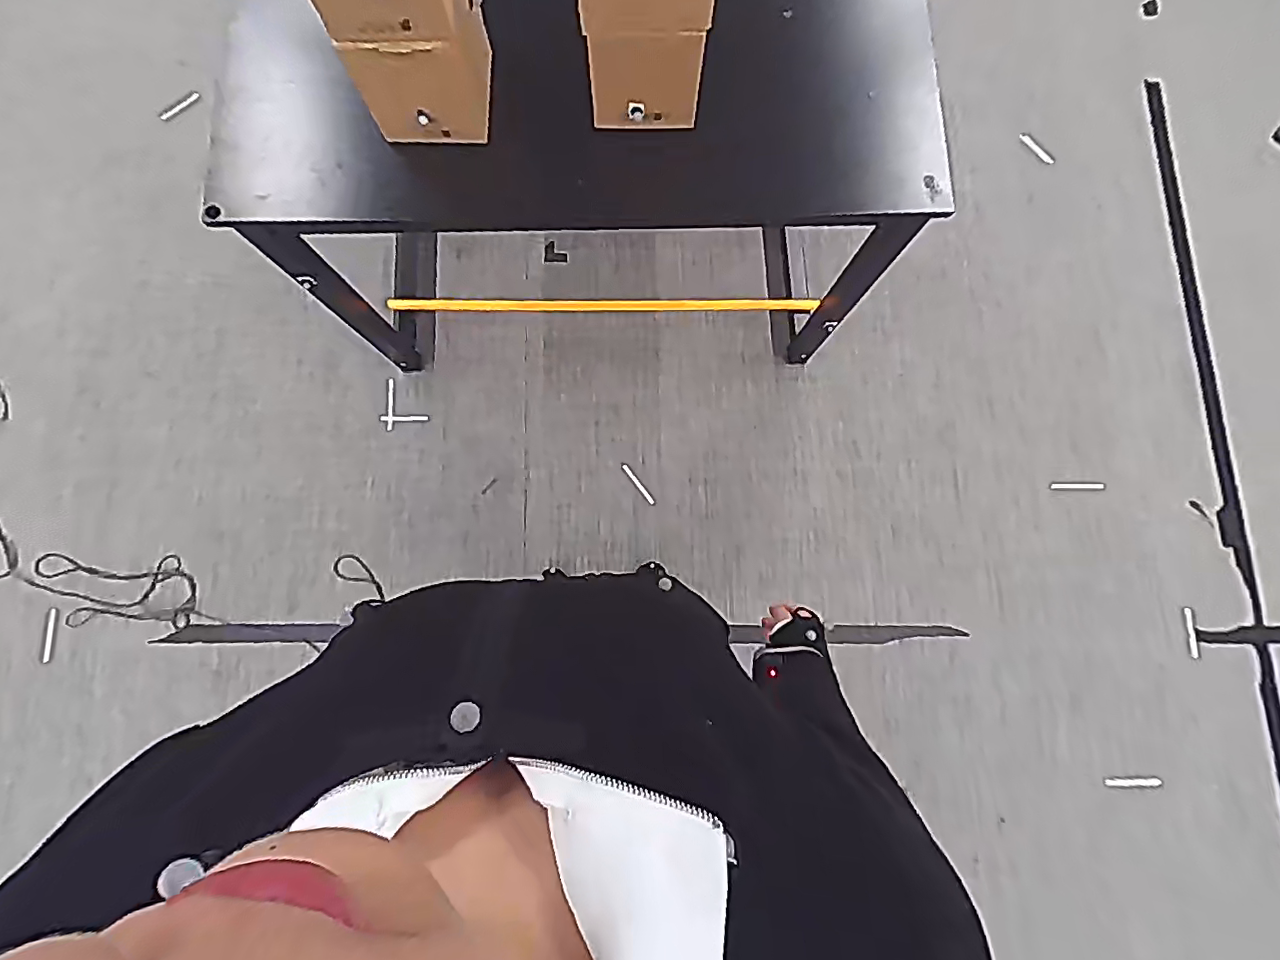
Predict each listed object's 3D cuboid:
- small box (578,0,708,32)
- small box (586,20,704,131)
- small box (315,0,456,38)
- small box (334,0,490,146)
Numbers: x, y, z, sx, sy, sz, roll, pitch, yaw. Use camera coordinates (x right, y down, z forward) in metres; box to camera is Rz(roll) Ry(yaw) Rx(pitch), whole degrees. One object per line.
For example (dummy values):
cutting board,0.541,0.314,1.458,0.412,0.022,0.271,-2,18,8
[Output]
small box,0.002,-0.701,0.669,0.179,0.176,0.168,-3,81,-1
small box,0.005,-0.678,0.832,0.168,0.176,0.179,-2,82,0
small box,-0.331,-0.685,0.660,0.168,0.176,0.179,-3,82,-1
small box,-0.331,-0.650,0.820,0.168,0.176,0.179,0,81,-1
